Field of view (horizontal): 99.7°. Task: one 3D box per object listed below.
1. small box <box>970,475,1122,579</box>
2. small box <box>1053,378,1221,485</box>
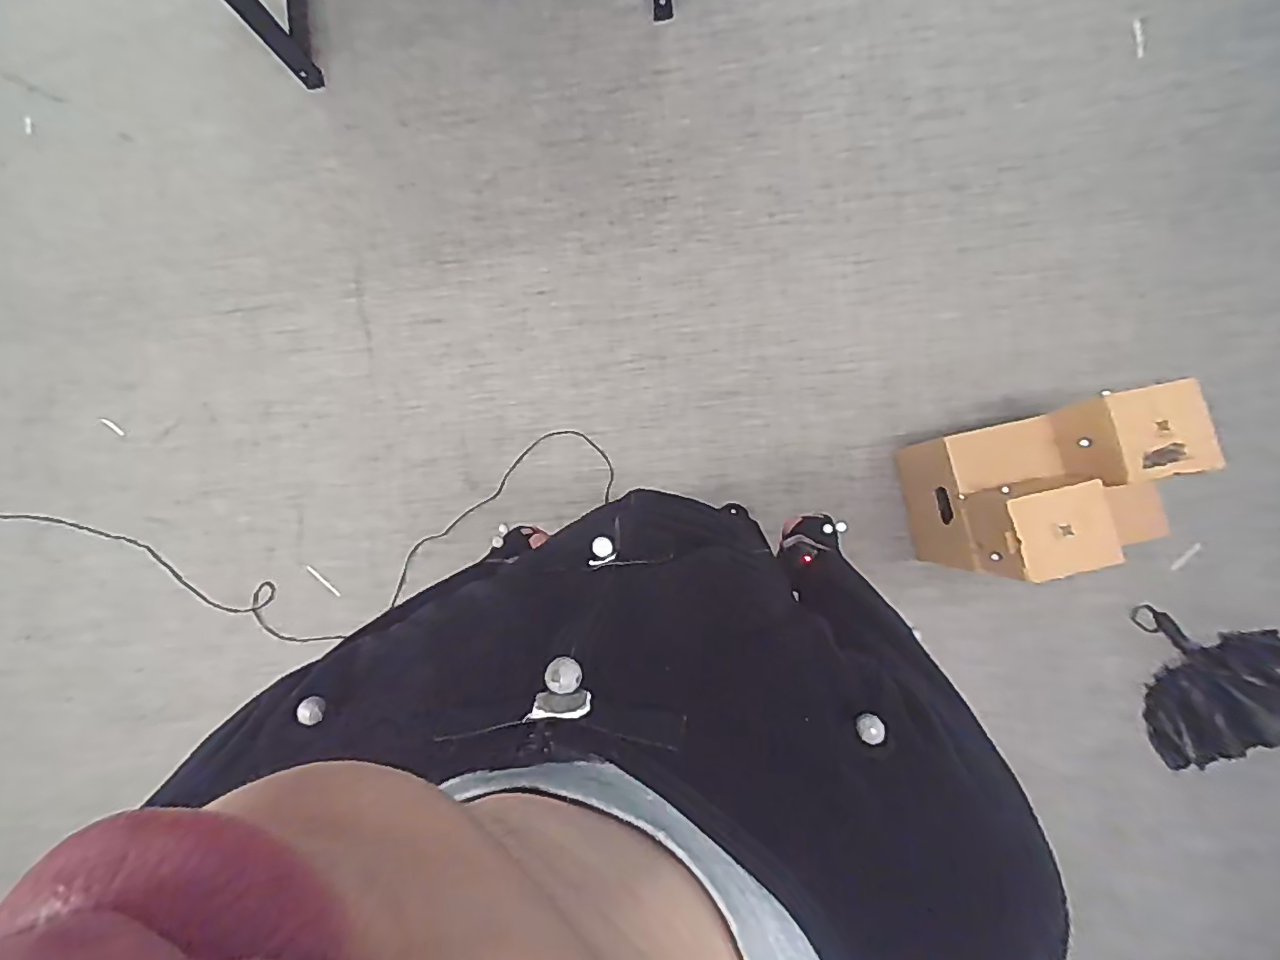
[{"bbox_3d":[0.803,0.091,1.096,0.179,0.176,0.168,-15,89,4],"label":"small box"},{"bbox_3d":[0.980,-0.086,1.084,0.168,0.176,0.179,-11,83,5],"label":"small box"}]
